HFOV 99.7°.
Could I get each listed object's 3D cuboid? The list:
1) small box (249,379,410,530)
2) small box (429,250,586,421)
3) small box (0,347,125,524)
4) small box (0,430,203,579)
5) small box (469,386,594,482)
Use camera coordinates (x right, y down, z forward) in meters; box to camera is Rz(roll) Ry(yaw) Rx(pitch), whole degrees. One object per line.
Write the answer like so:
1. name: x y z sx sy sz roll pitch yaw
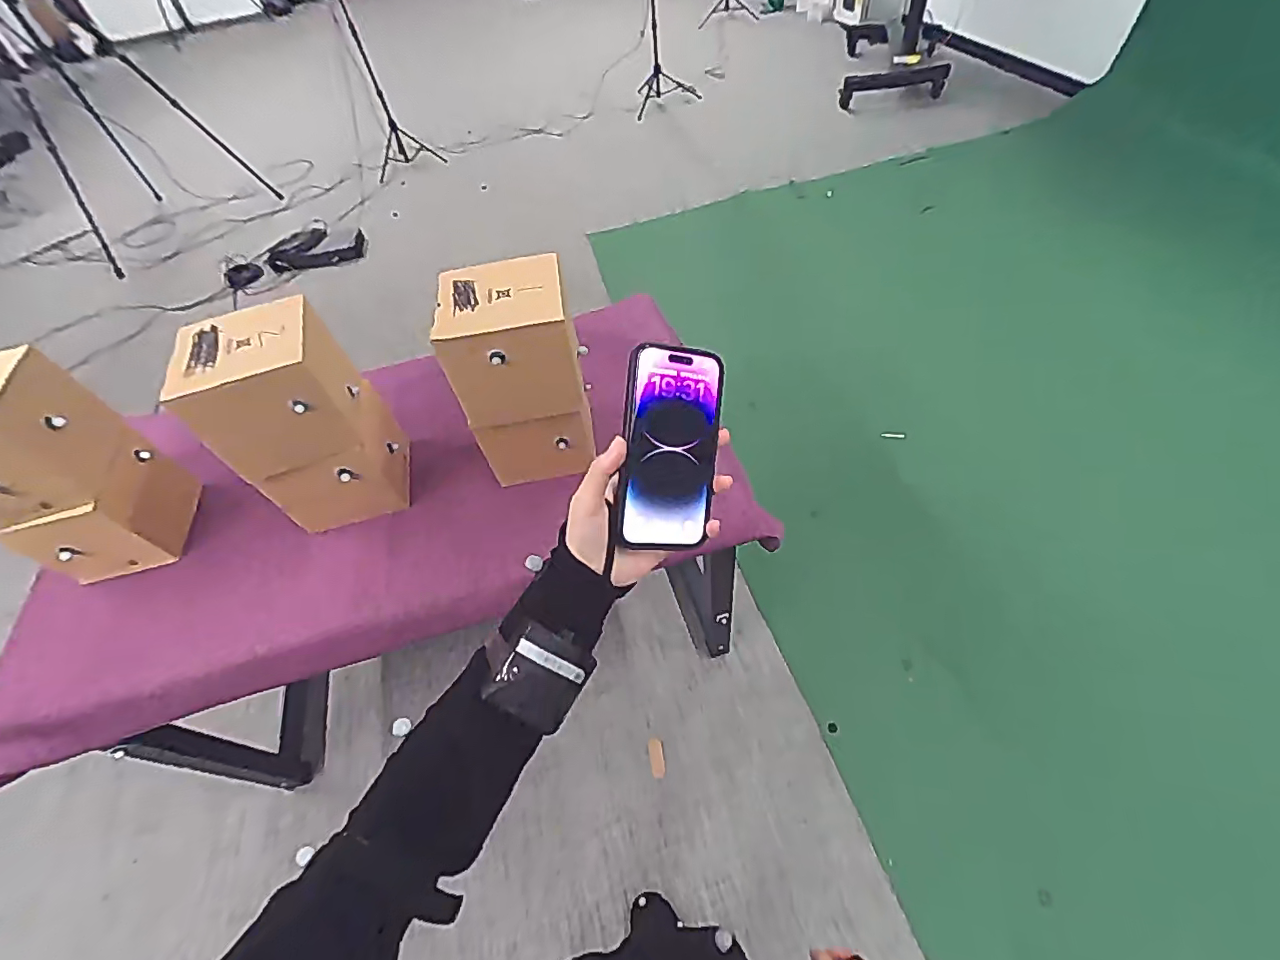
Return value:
1. small box: -0.510 -0.039 0.921 0.179 0.176 0.168 -15 53 -4
2. small box: -0.185 -0.207 0.798 0.179 0.176 0.168 -11 52 -1
3. small box: -0.911 -0.055 0.784 0.168 0.176 0.179 -19 54 -7
4. small box: -0.891 0.049 0.910 0.168 0.176 0.179 -15 53 -3
5. small box: -0.179 -0.118 0.936 0.179 0.176 0.168 -11 52 1
